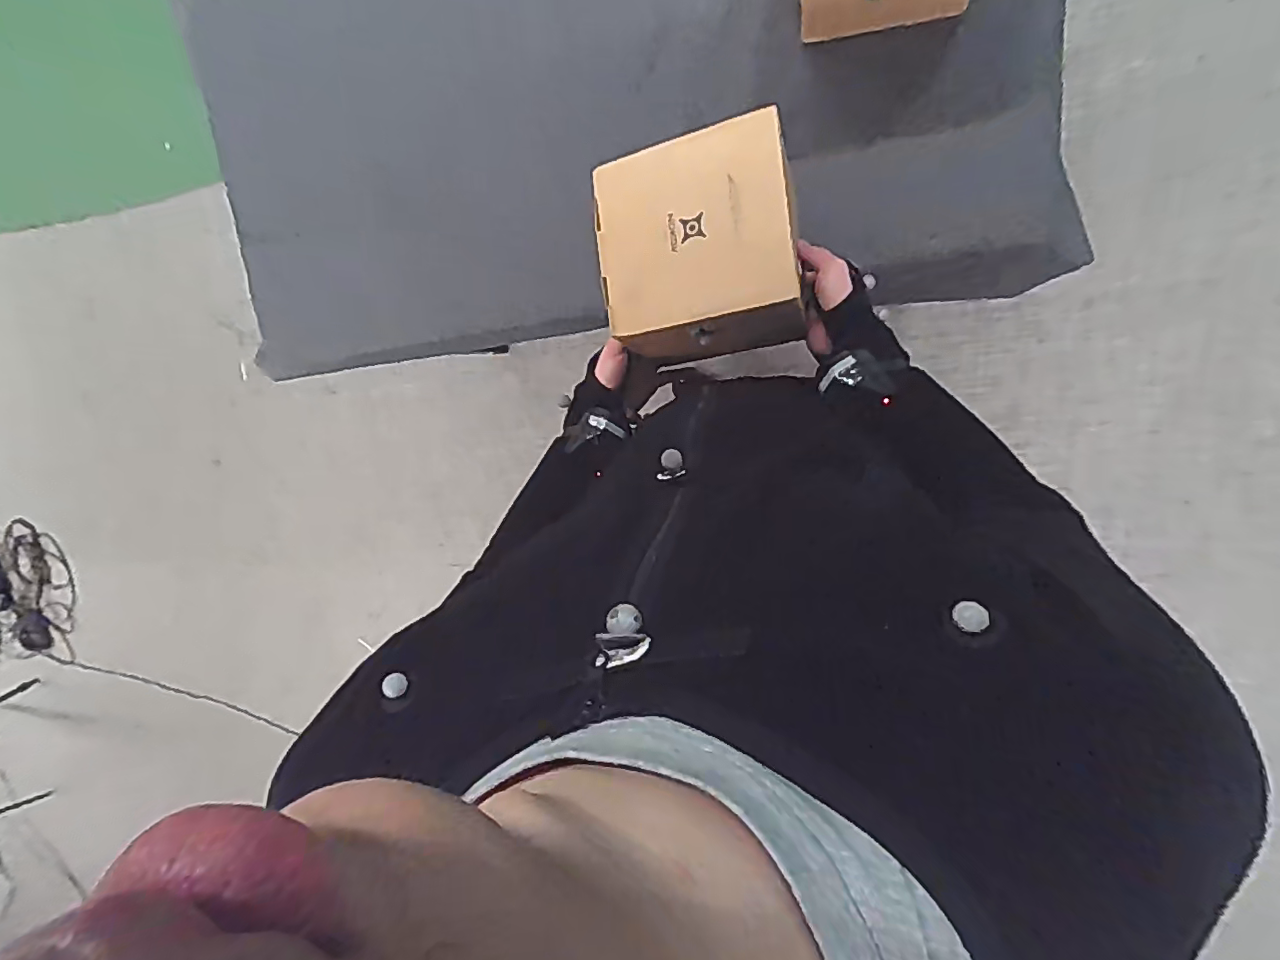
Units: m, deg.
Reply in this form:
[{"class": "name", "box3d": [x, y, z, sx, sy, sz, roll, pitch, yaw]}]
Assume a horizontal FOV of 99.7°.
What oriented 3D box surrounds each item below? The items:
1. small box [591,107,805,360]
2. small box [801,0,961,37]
[{"class": "small box", "box3d": [0.069, -0.230, 0.561, 0.179, 0.176, 0.168, -7, 91, 19]}, {"class": "small box", "box3d": [0.251, -0.582, 0.533, 0.179, 0.176, 0.168, 2, 105, 17]}]
